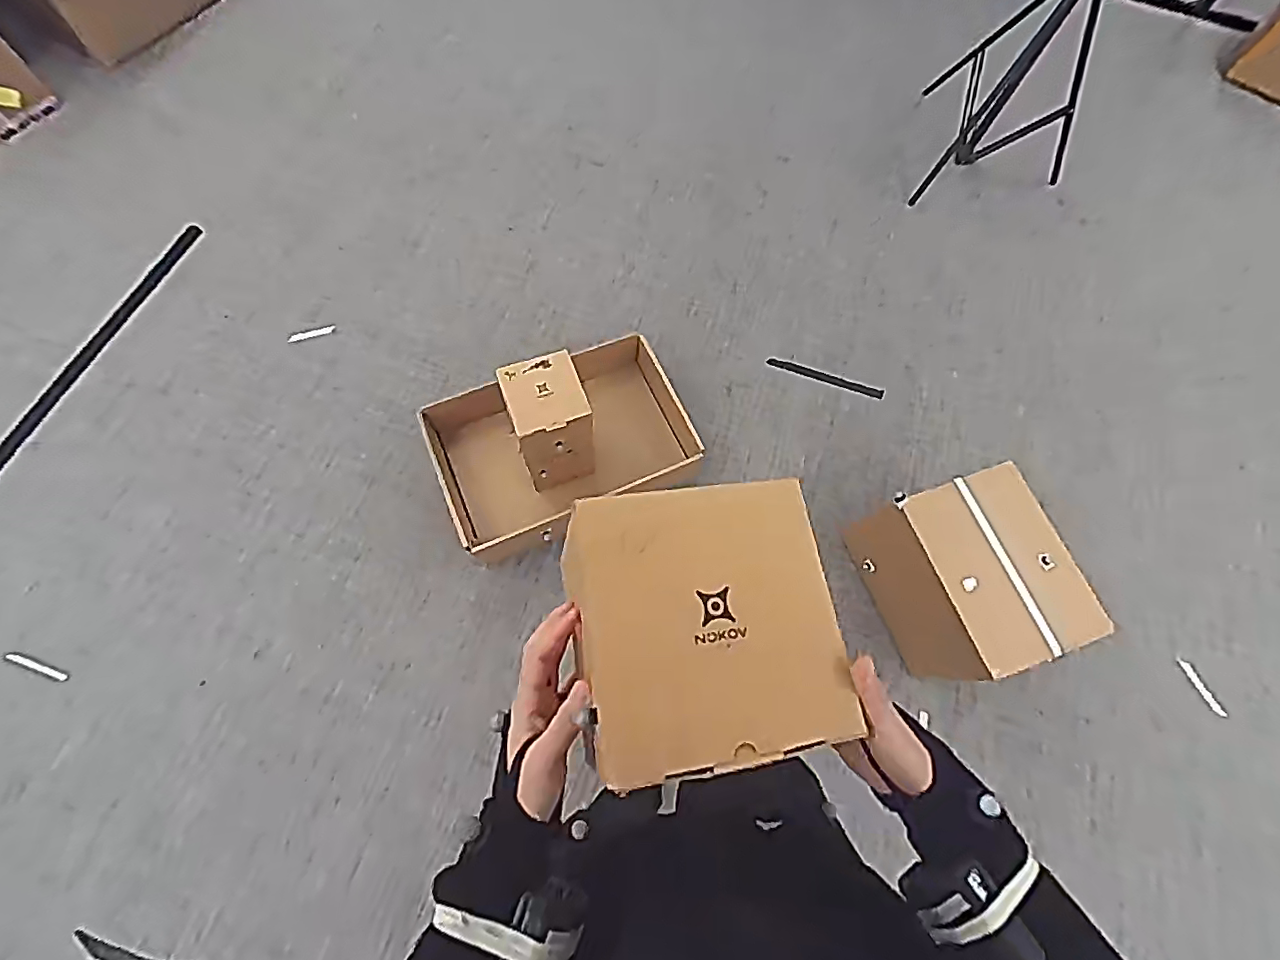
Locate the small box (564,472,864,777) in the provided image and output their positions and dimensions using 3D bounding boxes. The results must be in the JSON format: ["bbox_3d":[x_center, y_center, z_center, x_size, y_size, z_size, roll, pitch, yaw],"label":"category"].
[{"bbox_3d":[0.034,0.110,0.423,0.168,0.176,0.179,-6,71,-13],"label":"small box"}]

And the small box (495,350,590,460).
[{"bbox_3d":[-0.214,-0.160,1.228,0.168,0.176,0.179,-18,72,-11],"label":"small box"}]
